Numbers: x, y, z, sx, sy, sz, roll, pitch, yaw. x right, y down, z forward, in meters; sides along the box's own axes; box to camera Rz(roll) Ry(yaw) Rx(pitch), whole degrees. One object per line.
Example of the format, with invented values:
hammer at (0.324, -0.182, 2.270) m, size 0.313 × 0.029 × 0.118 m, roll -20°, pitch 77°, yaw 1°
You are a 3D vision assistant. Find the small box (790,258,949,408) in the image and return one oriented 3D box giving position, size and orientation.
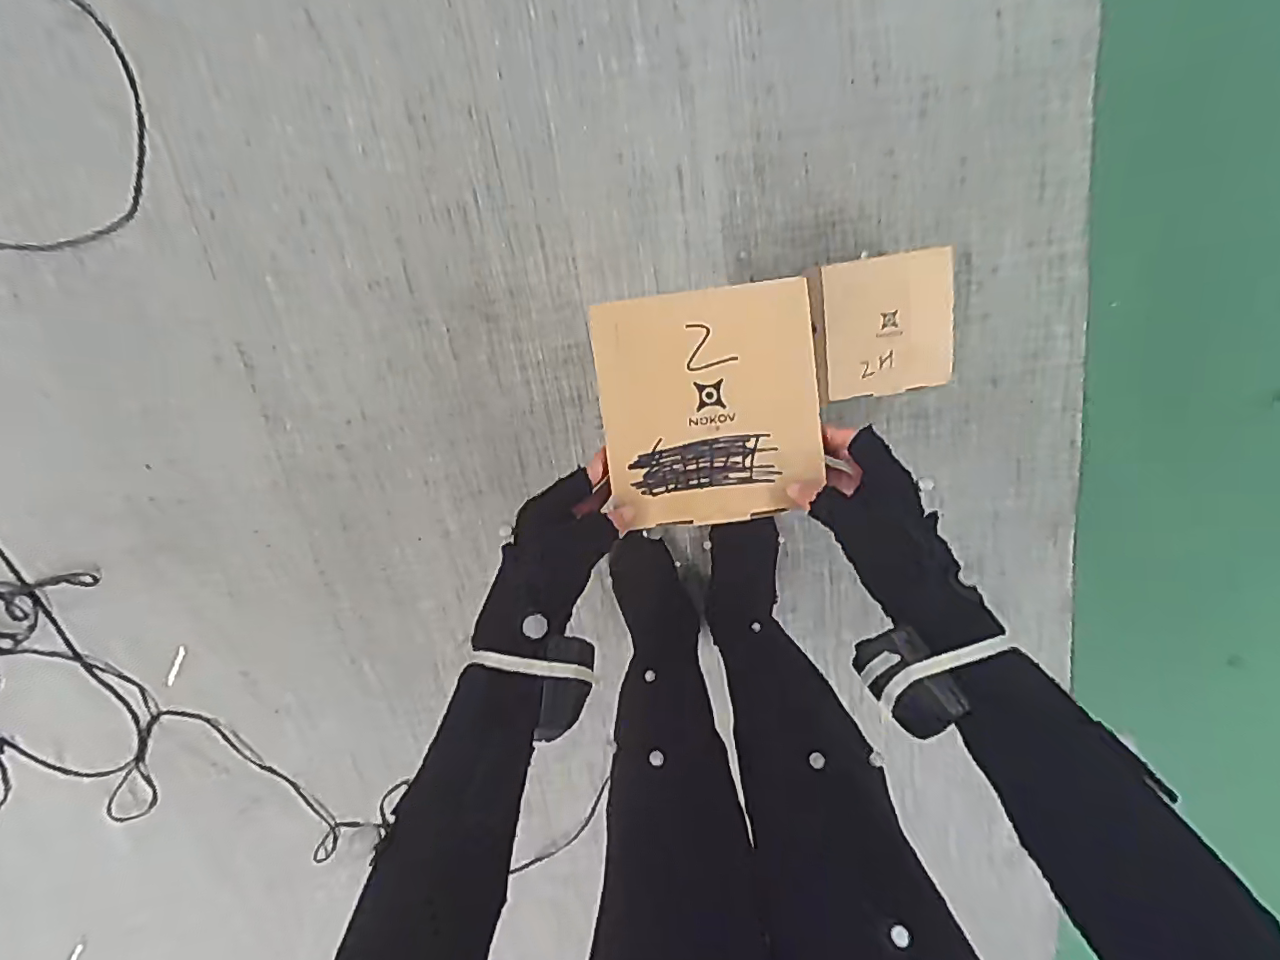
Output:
small box at (0.323, -0.211, 0.788) m, size 0.168 × 0.176 × 0.179 m, roll -8°, pitch 105°, yaw 3°
